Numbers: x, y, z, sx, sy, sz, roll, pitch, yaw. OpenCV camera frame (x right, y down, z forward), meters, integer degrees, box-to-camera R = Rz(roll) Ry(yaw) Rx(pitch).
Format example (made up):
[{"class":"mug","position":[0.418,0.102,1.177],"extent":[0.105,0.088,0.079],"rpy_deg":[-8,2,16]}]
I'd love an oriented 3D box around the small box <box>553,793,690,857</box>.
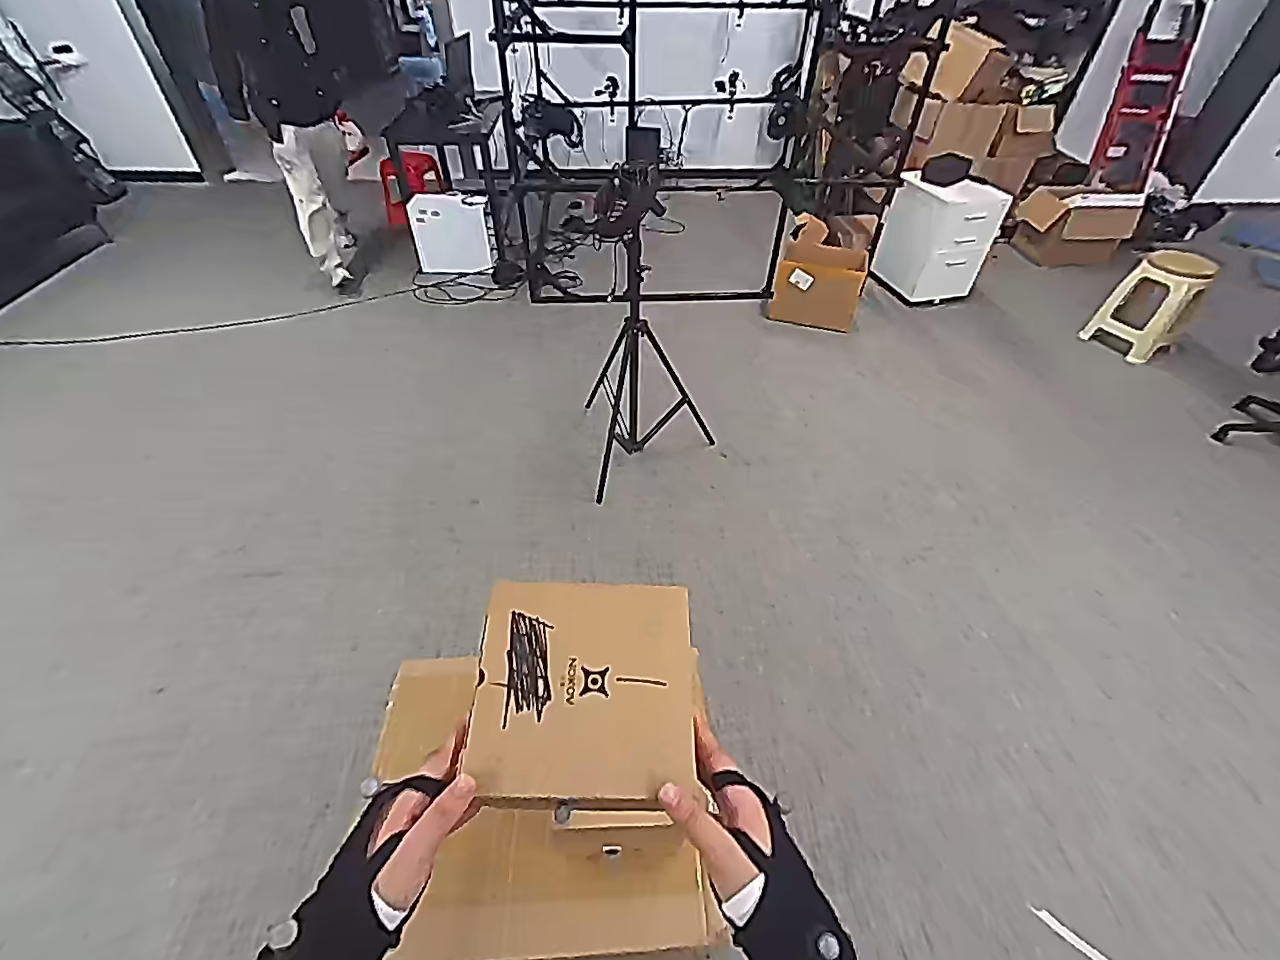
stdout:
[{"class":"small box","position":[-0.025,0.398,0.749],"extent":[0.168,0.176,0.179],"rpy_deg":[-3,46,-2]}]

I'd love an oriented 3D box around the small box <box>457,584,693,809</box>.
[{"class":"small box","position":[-0.051,0.207,0.504],"extent":[0.179,0.176,0.168],"rpy_deg":[2,56,-3]}]
